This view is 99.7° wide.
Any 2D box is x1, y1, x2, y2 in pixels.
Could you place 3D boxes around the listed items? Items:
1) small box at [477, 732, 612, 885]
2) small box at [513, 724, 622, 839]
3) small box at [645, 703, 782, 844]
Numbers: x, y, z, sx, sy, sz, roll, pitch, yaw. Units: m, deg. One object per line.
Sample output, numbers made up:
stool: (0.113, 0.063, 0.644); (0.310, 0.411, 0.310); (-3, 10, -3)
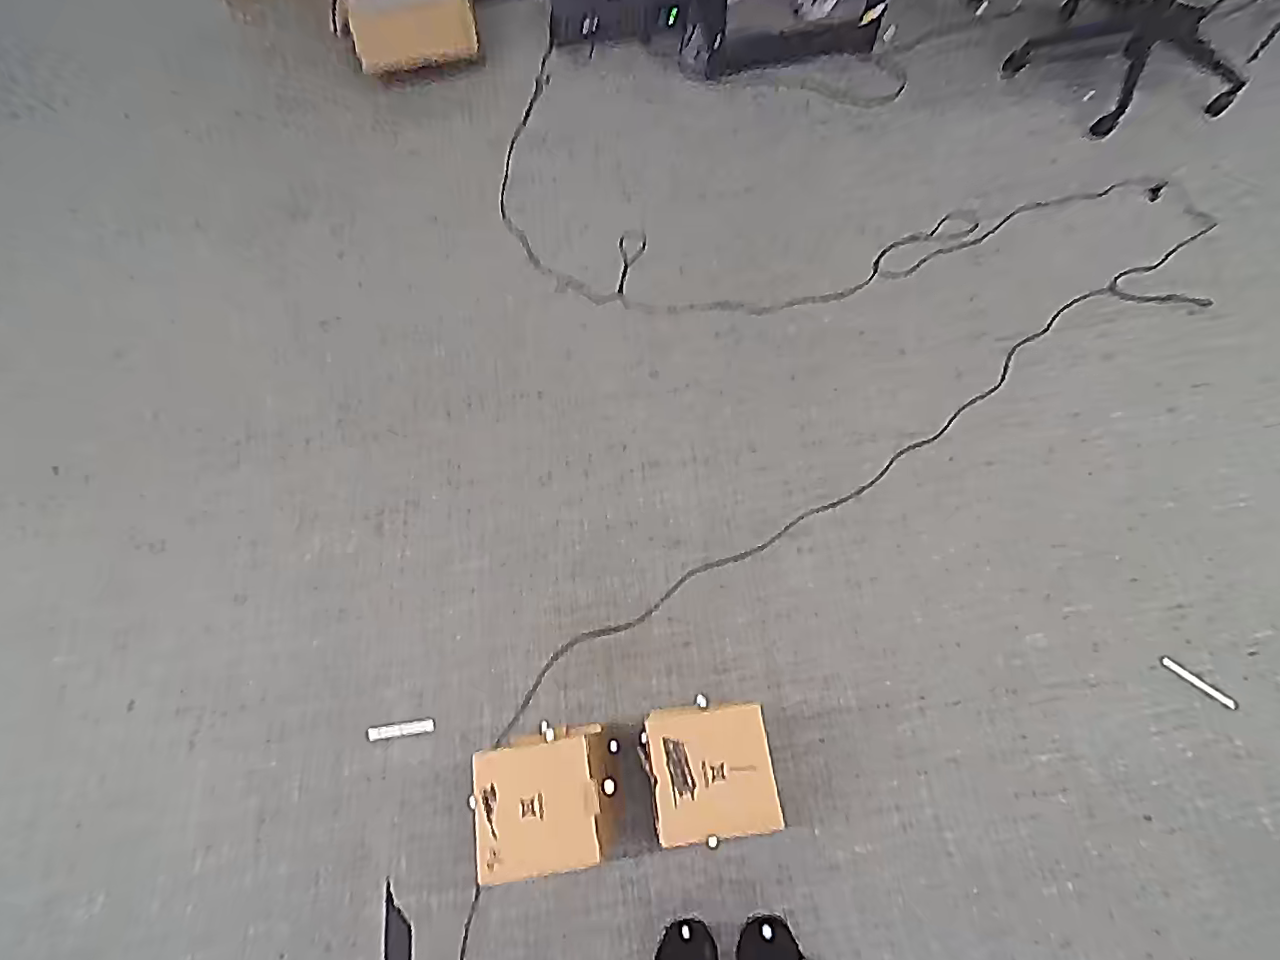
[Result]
small box: (-0.142, 0.501, 0.849); (0.179, 0.176, 0.168); (-10, 67, 0)
small box: (-0.130, 0.557, 1.002); (0.168, 0.176, 0.179); (-10, 68, 1)
small box: (0.107, 0.452, 0.853); (0.179, 0.176, 0.168); (-8, 68, -1)
